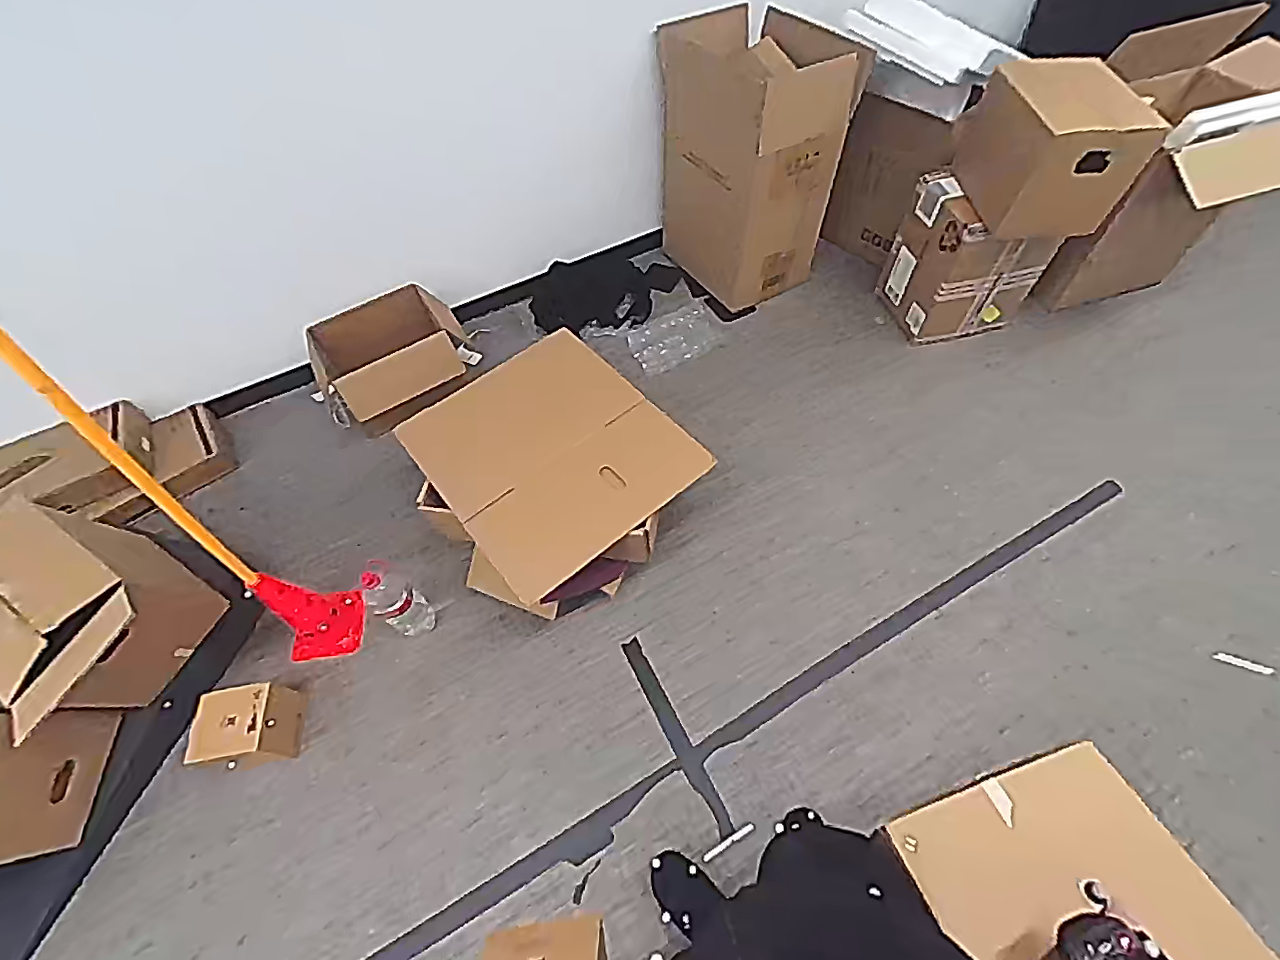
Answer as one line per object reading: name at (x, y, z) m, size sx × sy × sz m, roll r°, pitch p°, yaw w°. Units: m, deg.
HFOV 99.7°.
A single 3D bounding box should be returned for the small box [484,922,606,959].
small box at (-0.120, 0.719, 0.682) m, size 0.168 × 0.179 × 0.176 m, roll -8°, pitch 83°, yaw -1°
